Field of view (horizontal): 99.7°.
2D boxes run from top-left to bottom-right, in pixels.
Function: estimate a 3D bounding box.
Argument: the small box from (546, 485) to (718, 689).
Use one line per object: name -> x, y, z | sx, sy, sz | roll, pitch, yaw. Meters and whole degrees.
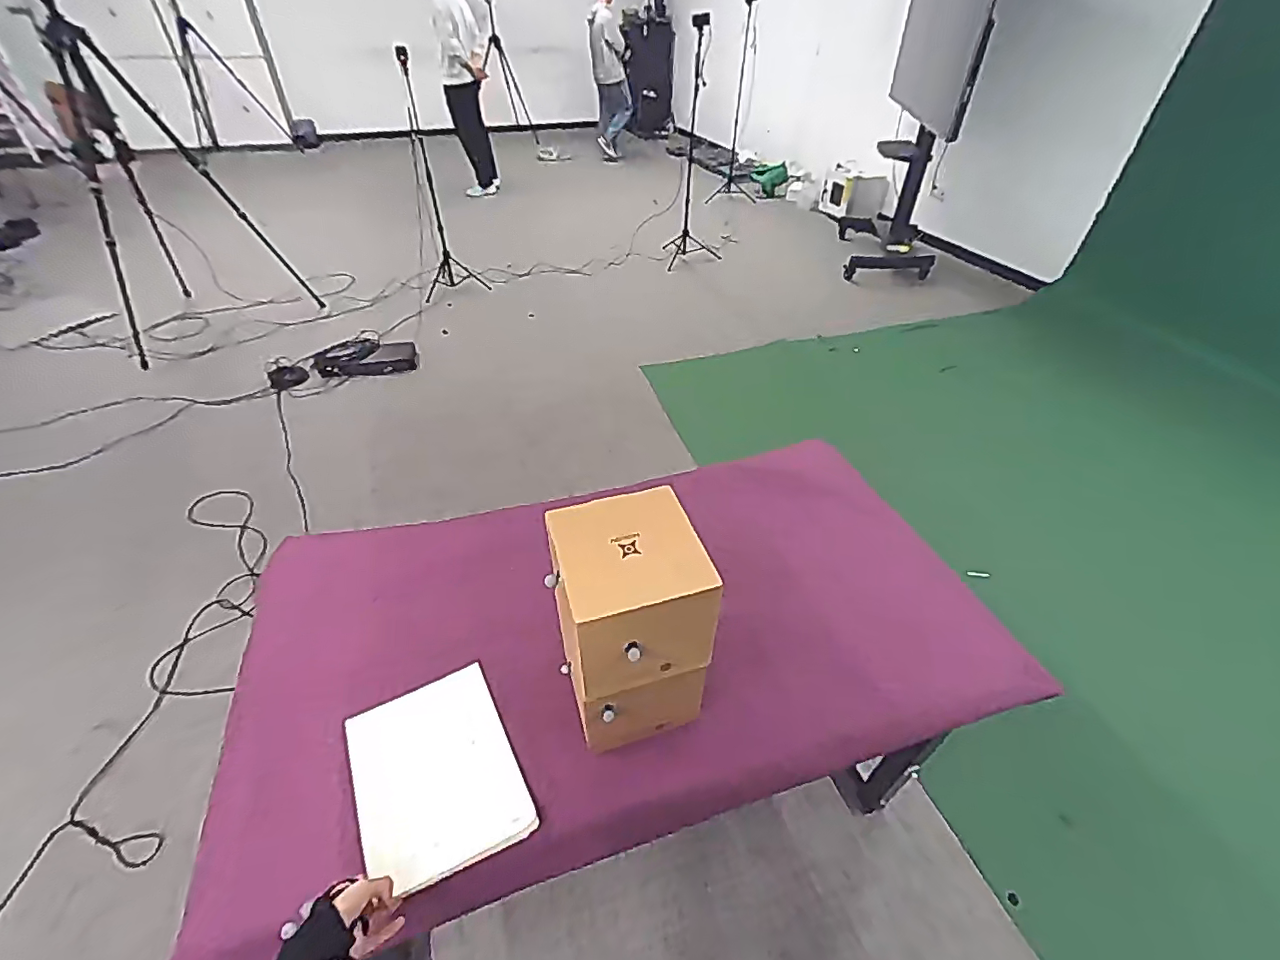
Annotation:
small box -> -0.014, 0.137, 0.678 | 0.168, 0.176, 0.179 | -12, 41, -14
